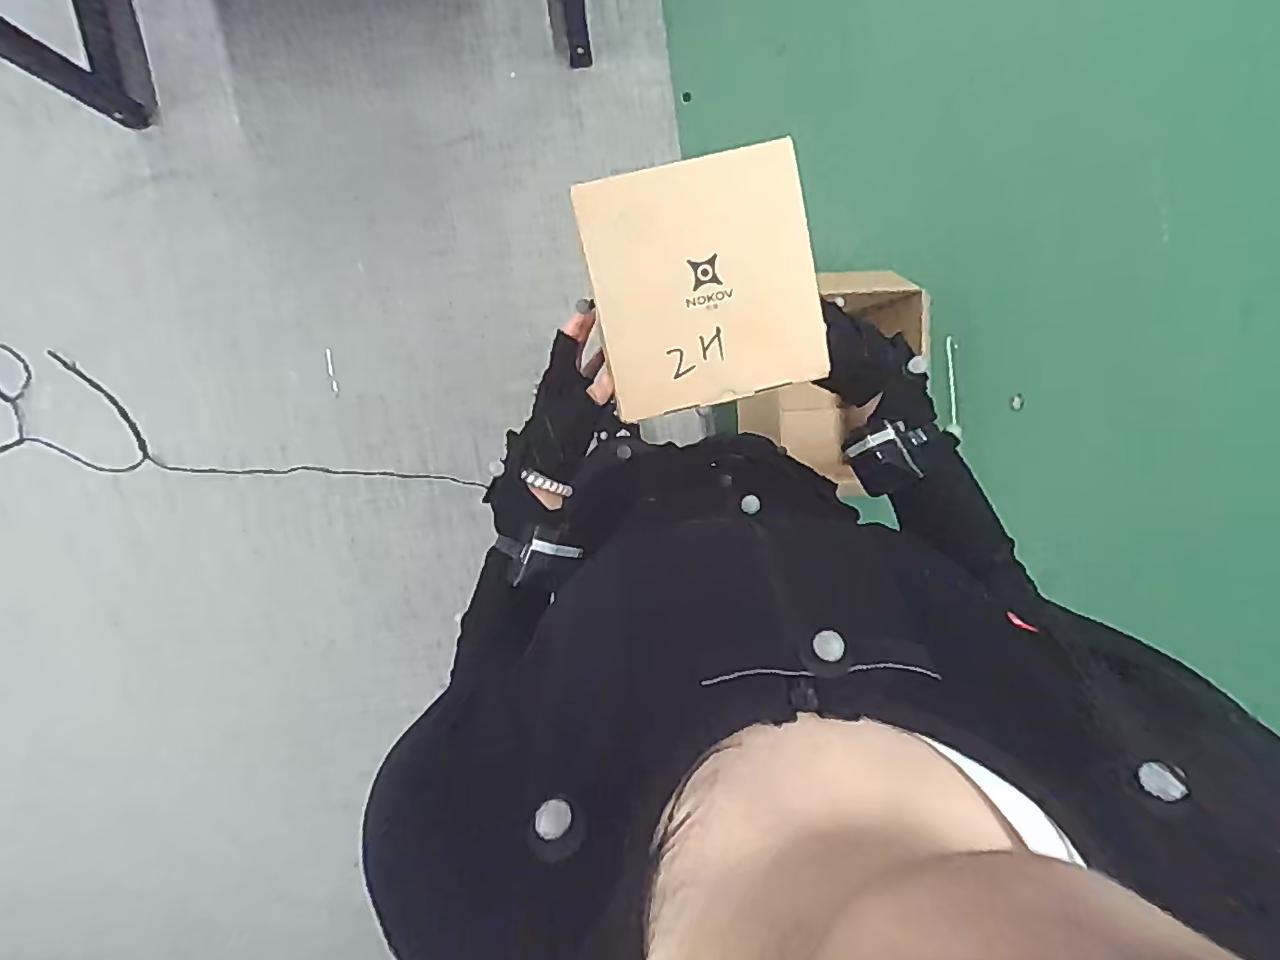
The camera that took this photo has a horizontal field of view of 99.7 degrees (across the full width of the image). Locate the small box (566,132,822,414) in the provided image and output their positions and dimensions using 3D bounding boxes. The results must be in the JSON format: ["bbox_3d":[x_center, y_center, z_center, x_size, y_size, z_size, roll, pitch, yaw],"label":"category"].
[{"bbox_3d":[0.037,-0.161,0.476,0.168,0.176,0.179,-13,100,-1],"label":"small box"}]
